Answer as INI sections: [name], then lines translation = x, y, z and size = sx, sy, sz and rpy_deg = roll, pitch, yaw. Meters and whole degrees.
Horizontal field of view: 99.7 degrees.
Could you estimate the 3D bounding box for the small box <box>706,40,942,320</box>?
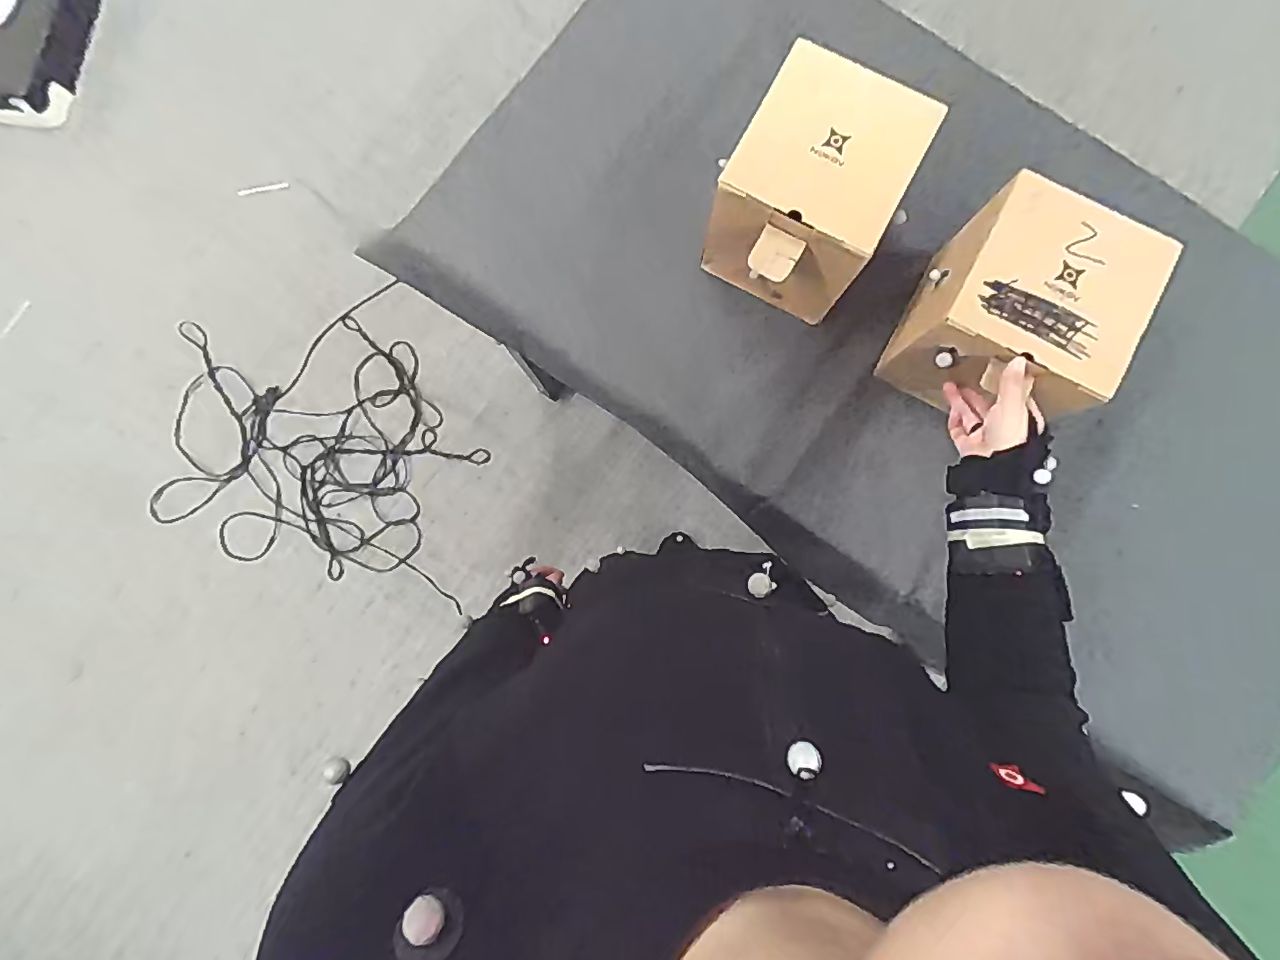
[small box]
translation = 0.185, -0.314, 0.601
size = 0.168, 0.176, 0.179
rpy_deg = 28, 85, 3
